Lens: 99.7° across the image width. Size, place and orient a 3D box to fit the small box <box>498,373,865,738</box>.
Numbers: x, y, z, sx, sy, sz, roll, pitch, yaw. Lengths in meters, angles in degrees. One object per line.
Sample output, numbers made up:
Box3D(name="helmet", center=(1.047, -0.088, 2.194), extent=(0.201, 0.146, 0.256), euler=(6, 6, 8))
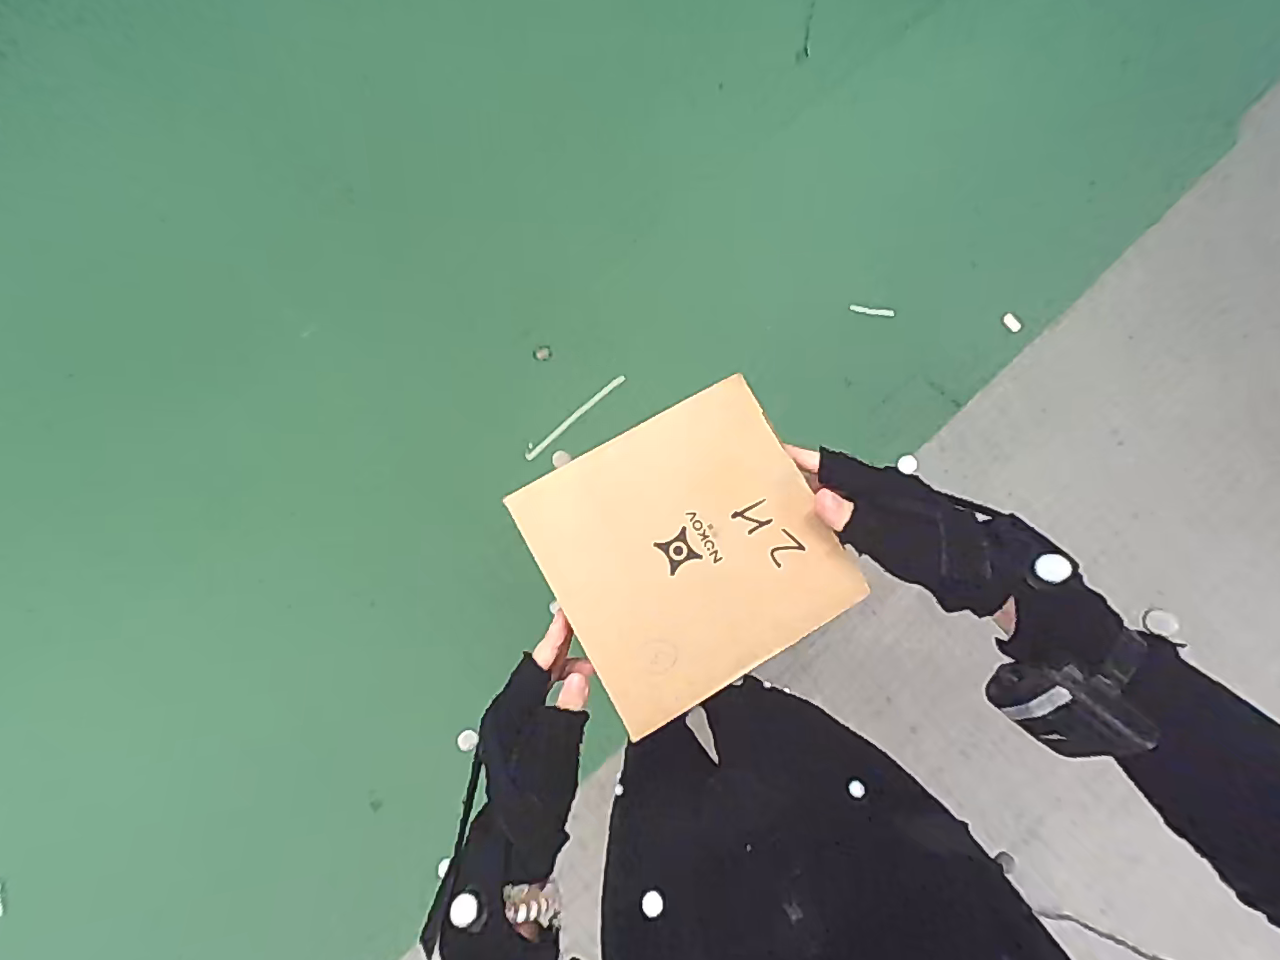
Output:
Box3D(name="small box", center=(0.021, 0.053, 0.407), extent=(0.179, 0.176, 0.168), euler=(-29, 85, -8))
